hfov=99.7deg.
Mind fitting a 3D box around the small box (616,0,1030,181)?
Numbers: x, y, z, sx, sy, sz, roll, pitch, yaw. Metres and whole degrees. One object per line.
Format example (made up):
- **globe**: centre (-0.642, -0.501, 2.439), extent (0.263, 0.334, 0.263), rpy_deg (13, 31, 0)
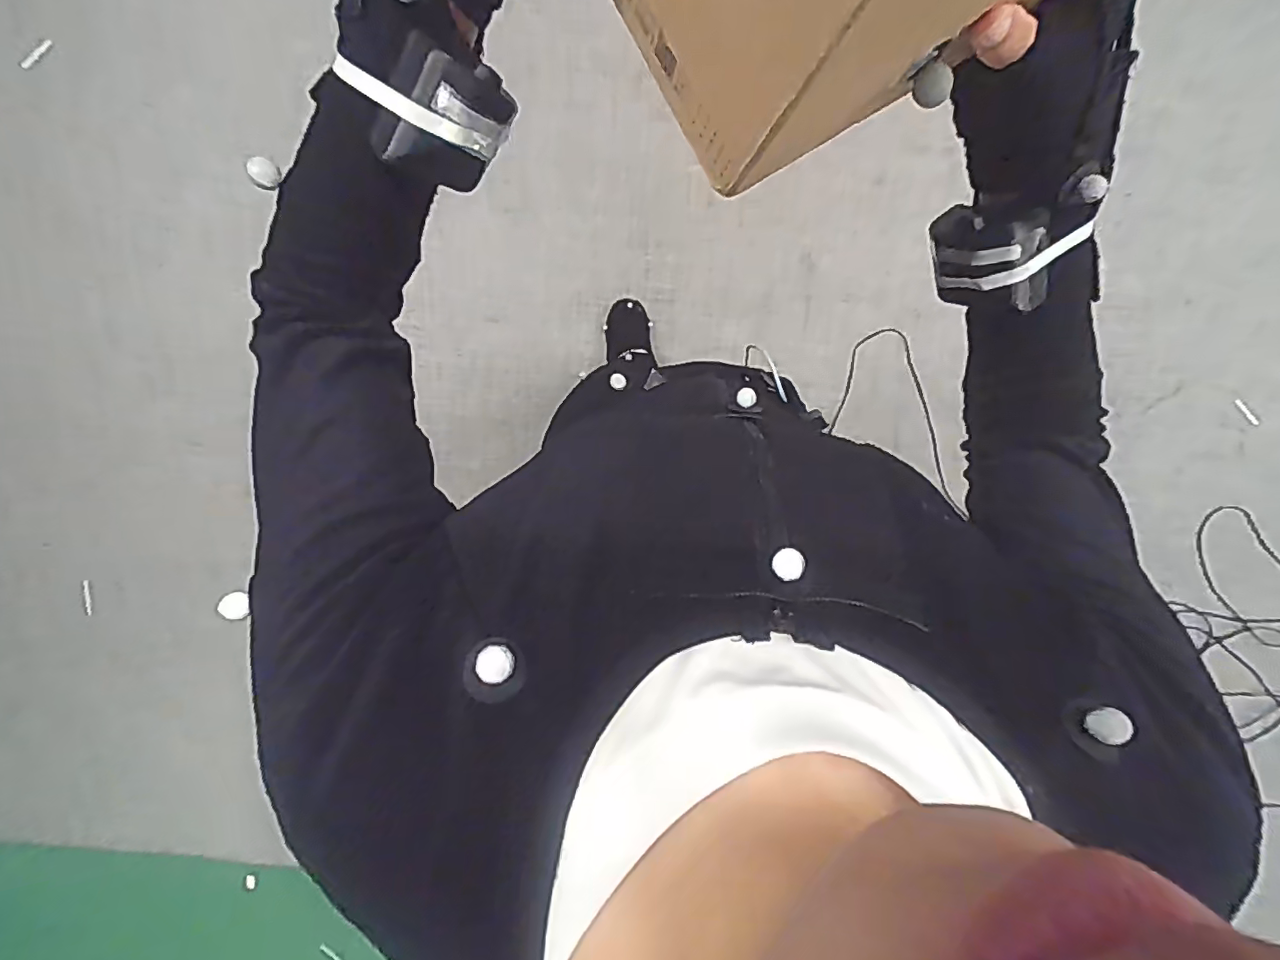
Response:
- **small box**: centre (0.081, -0.238, 0.168), extent (0.179, 0.176, 0.168), rpy_deg (-32, 100, -3)
